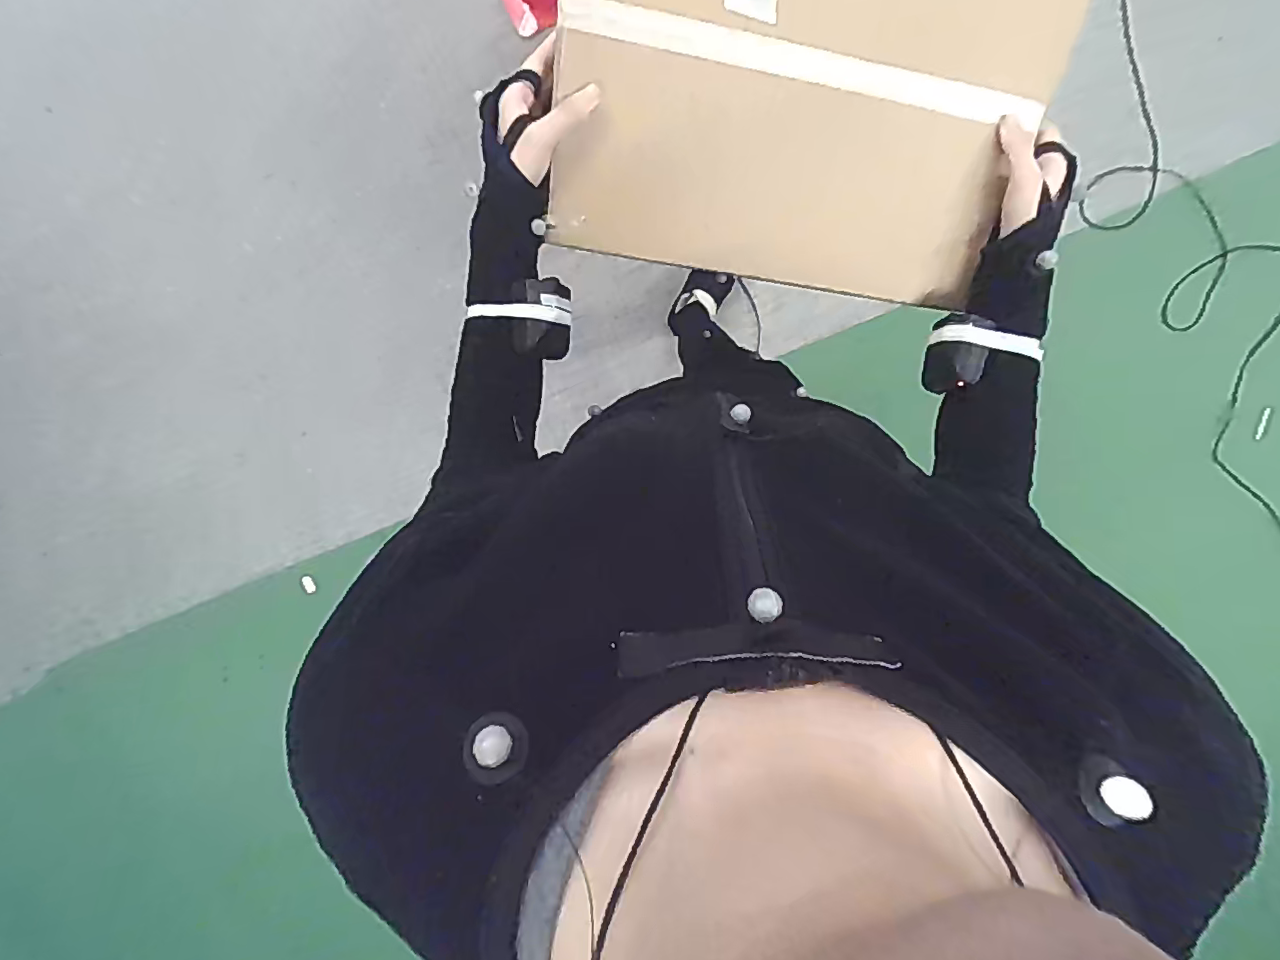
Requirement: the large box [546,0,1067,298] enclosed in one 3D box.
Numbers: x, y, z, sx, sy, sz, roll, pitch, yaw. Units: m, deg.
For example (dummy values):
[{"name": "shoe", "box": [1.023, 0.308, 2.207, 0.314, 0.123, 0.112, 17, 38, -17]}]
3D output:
[{"name": "large box", "box": [0.123, -0.400, 0.573, 0.408, 0.320, 0.320, 6, 115, -9]}]
